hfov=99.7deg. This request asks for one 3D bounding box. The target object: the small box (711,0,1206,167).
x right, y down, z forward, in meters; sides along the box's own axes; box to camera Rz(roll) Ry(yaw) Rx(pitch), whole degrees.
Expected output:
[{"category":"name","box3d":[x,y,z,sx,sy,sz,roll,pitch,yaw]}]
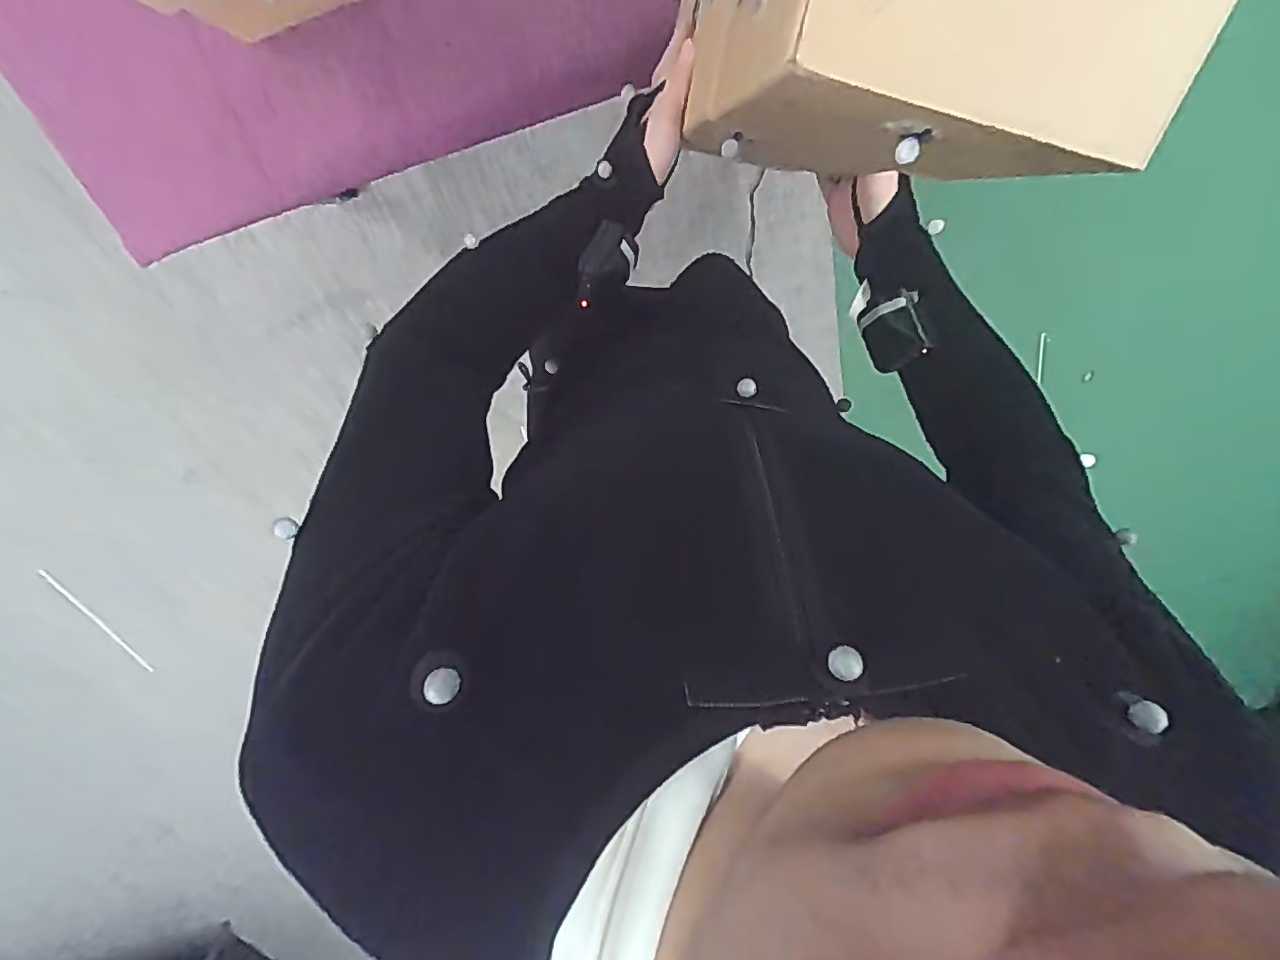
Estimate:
[{"category":"small box","box3d":[0.146,-0.266,0.268,0.179,0.176,0.168,9,117,-9]}]

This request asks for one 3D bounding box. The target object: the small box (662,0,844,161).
[{"category":"small box","box3d":[0.125,-0.435,0.549,0.179,0.176,0.168,7,117,-9]}]

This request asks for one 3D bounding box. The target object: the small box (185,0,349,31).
[{"category":"small box","box3d":[-0.364,-0.553,0.494,0.179,0.176,0.168,-19,120,3]}]
